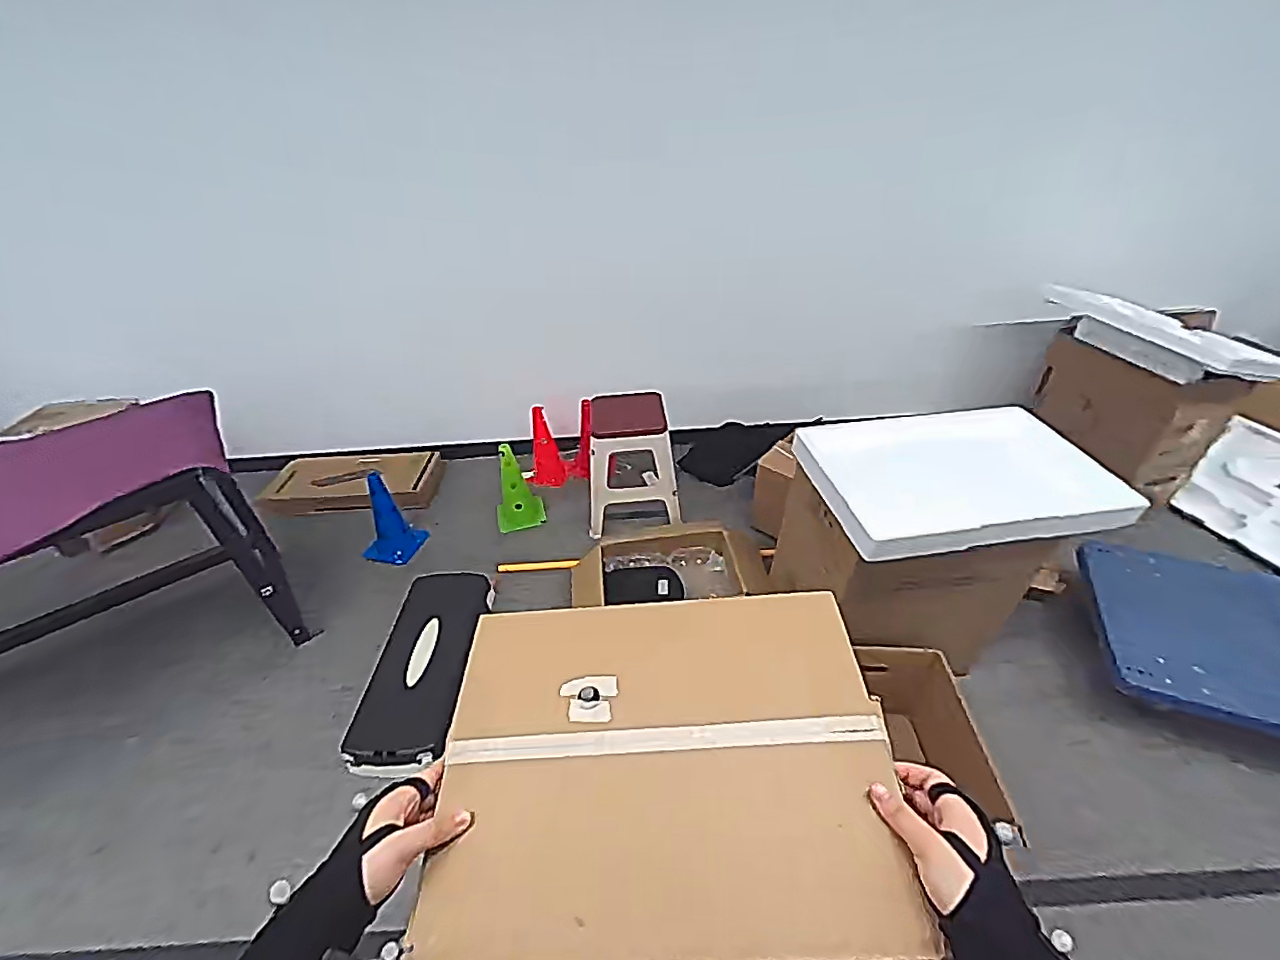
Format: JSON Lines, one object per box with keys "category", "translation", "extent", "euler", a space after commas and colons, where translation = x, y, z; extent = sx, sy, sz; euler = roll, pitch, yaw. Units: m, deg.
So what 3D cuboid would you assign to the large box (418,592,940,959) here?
{"category": "large box", "translation": [0.040, 0.362, 0.612], "extent": [0.408, 0.320, 0.320], "euler": [-7, 40, 4]}
